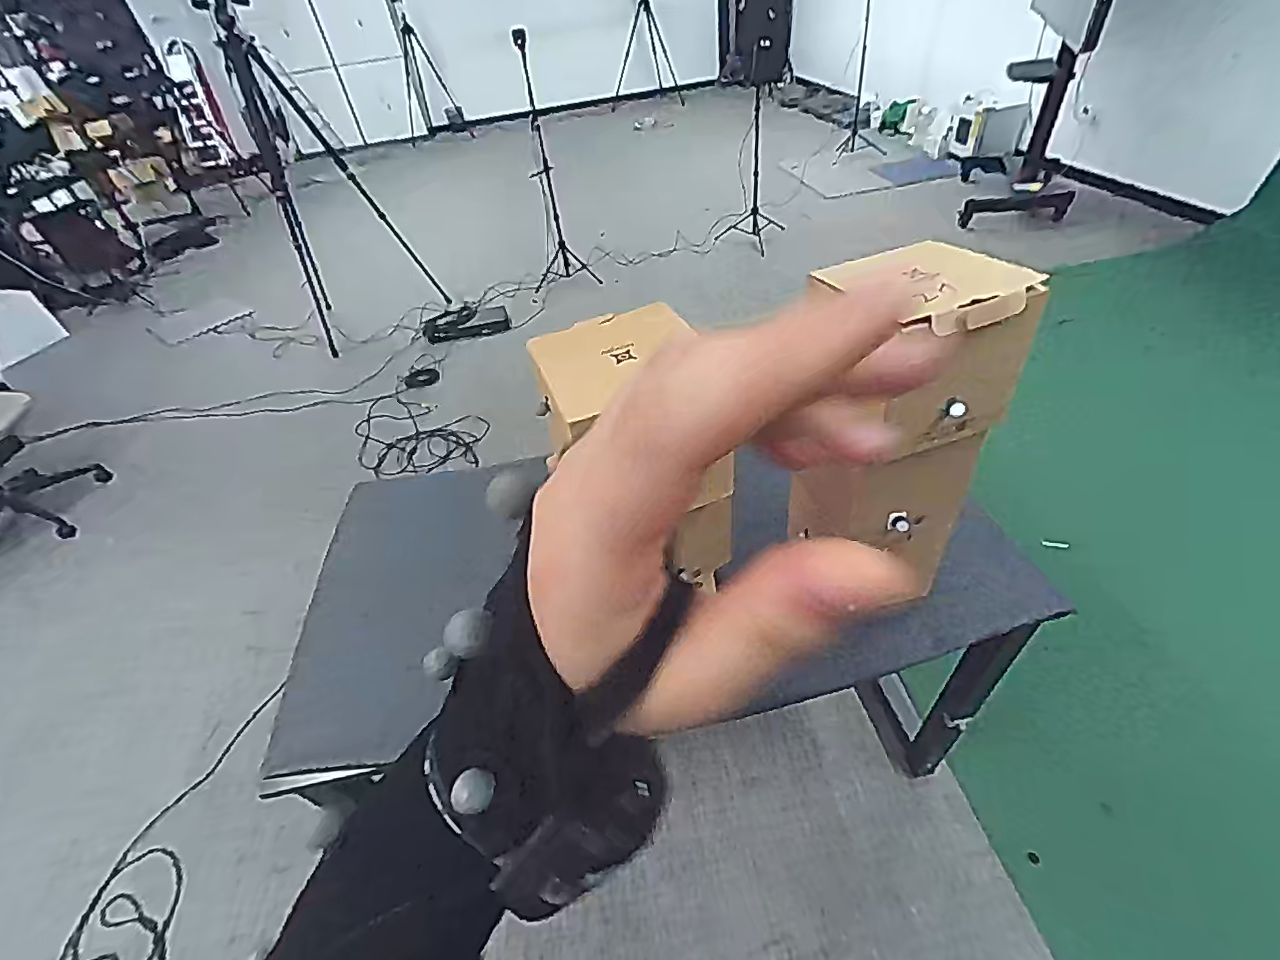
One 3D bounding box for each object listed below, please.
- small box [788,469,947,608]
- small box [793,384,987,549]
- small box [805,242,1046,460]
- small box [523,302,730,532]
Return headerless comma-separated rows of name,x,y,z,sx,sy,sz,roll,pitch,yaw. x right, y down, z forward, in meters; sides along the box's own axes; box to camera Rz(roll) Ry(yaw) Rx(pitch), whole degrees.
small box,0.343,0.082,0.855,0.168,0.176,0.179,-12,40,-2
small box,0.323,-0.035,0.744,0.168,0.176,0.179,-15,43,-4
small box,0.306,-0.152,0.628,0.168,0.176,0.179,-17,42,-6
small box,-0.011,-0.064,0.591,0.168,0.176,0.179,-20,44,-12
